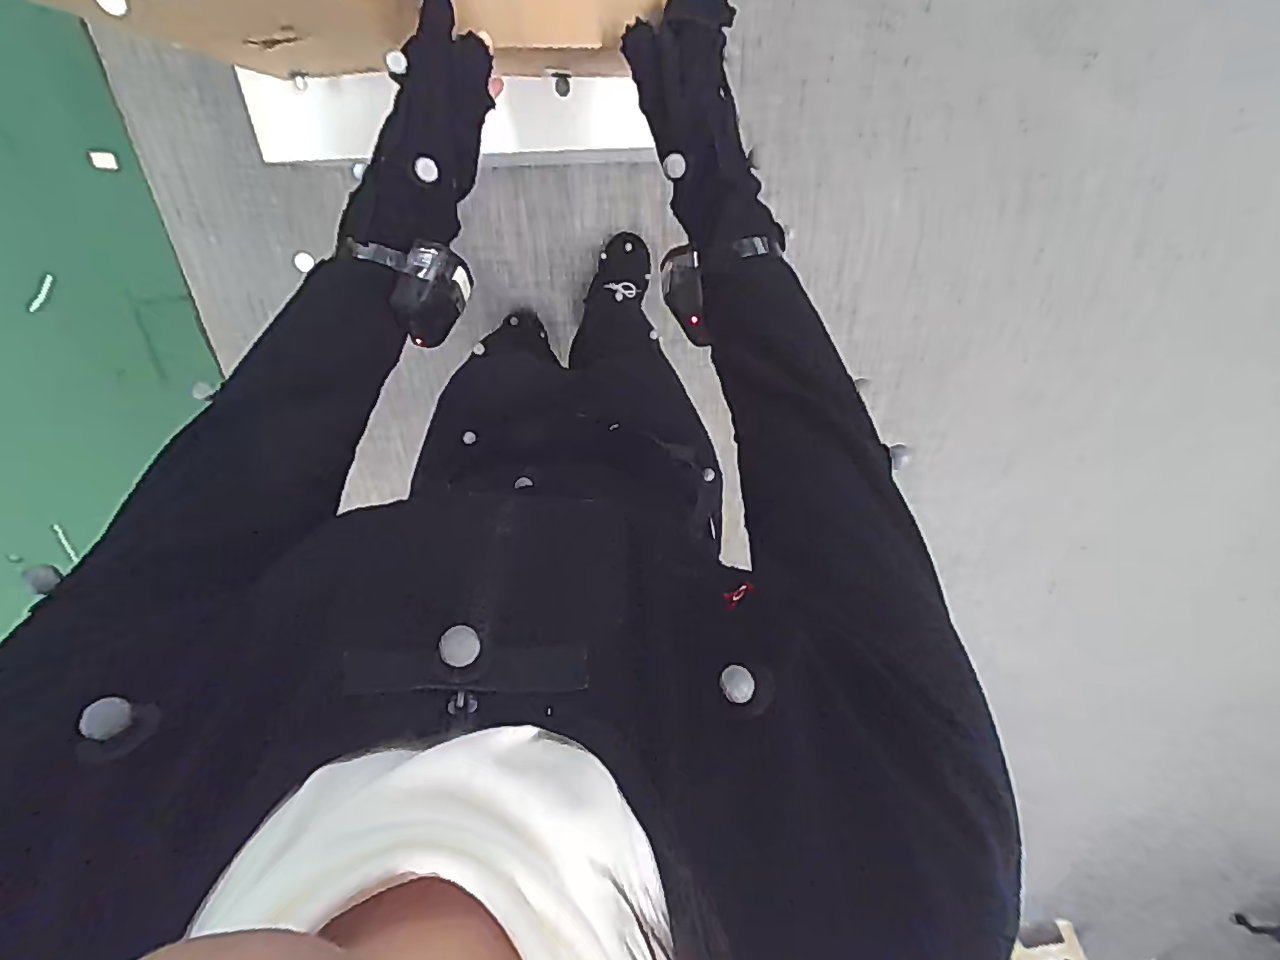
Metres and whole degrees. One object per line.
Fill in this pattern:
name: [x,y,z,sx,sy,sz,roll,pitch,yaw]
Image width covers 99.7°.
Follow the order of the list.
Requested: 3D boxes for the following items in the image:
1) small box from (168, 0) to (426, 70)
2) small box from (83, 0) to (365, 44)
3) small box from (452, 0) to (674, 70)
small box: [-0.307,-0.475,0.467,0.168,0.176,0.179,-5,118,1]
small box: [-0.301,-0.397,0.324,0.168,0.176,0.179,-5,118,2]
small box: [-0.061,-0.448,0.431,0.168,0.176,0.179,-2,122,-2]
